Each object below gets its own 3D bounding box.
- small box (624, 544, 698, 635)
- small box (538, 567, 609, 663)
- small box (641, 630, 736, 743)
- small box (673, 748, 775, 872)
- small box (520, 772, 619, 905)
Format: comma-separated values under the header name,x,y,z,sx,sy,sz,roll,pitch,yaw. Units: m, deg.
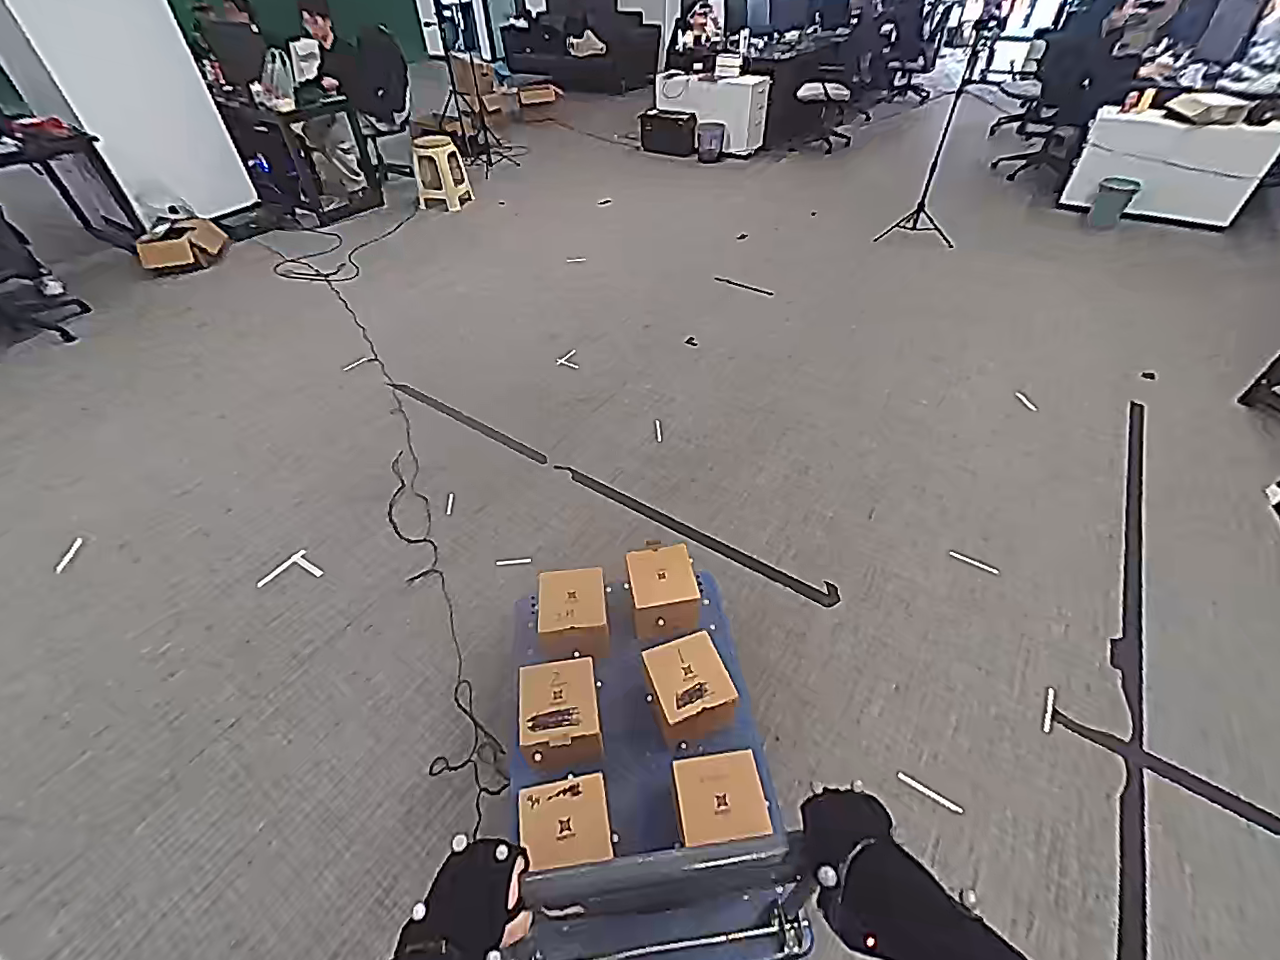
name,x,y,z,sx,sy,sz,roll,pitch,yaw
small box,0.055,0.301,1.455,0.168,0.176,0.179,-9,46,-7
small box,-0.170,0.352,1.408,0.168,0.176,0.179,-5,46,-3
small box,0.109,0.490,1.266,0.168,0.176,0.179,-15,46,-13
small box,0.159,0.668,1.088,0.168,0.176,0.179,-5,45,-4
small box,-0.136,0.705,1.058,0.168,0.176,0.179,-8,46,-8
